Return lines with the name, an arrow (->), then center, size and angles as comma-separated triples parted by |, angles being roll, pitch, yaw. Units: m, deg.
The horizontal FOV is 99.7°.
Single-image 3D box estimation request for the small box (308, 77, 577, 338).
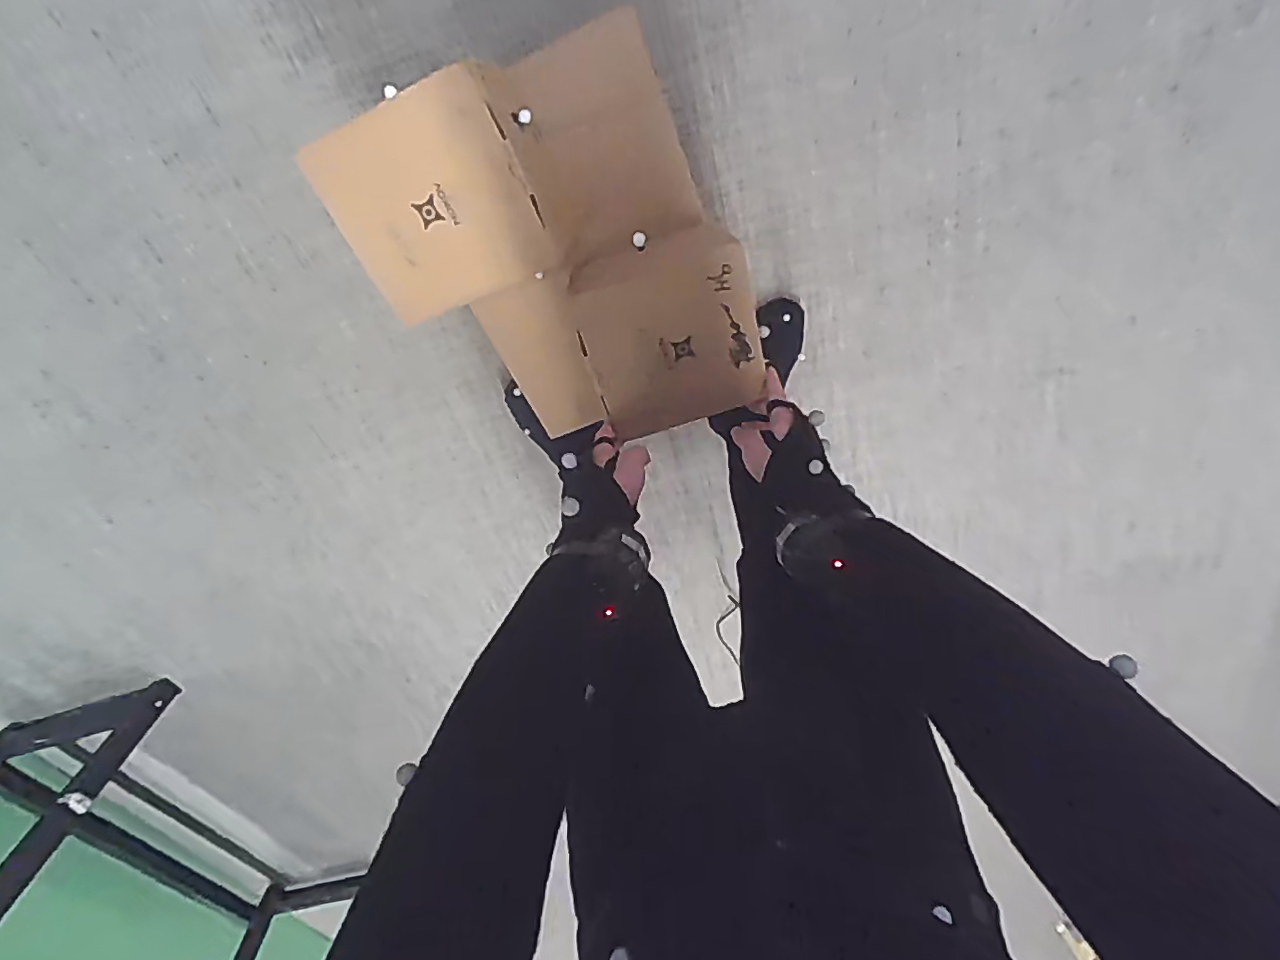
small box -> -0.175, -0.273, 0.550 | 0.179, 0.176, 0.168 | -18, 119, 14
